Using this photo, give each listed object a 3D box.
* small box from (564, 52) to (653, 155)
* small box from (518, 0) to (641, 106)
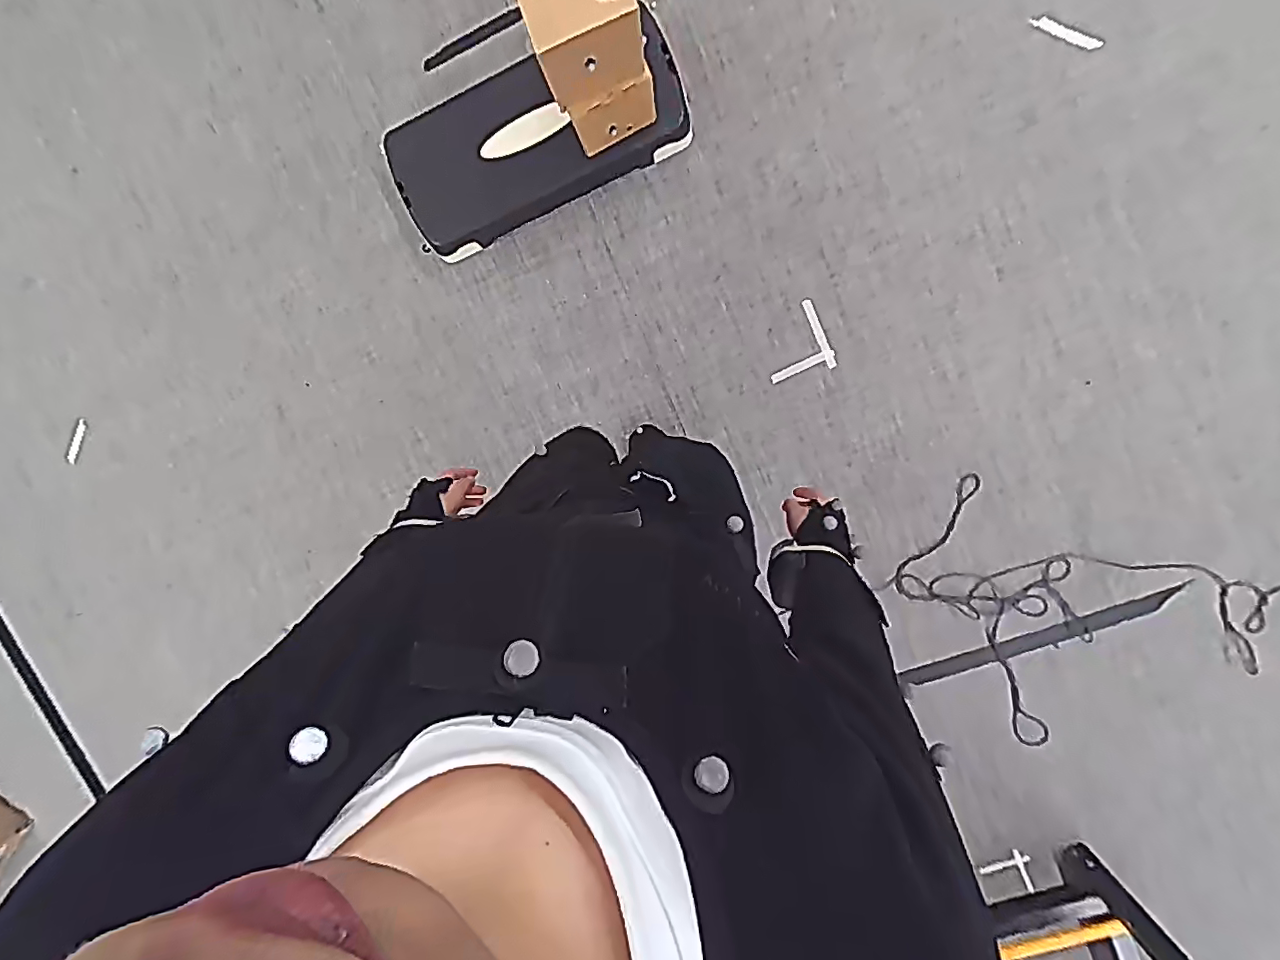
[{"bbox_3d":[-0.082,-0.796,1.074,0.168,0.176,0.179,-24,97,7],"label":"small box"},{"bbox_3d":[-0.102,-0.781,0.911,0.179,0.176,0.168,-19,98,7],"label":"small box"}]
